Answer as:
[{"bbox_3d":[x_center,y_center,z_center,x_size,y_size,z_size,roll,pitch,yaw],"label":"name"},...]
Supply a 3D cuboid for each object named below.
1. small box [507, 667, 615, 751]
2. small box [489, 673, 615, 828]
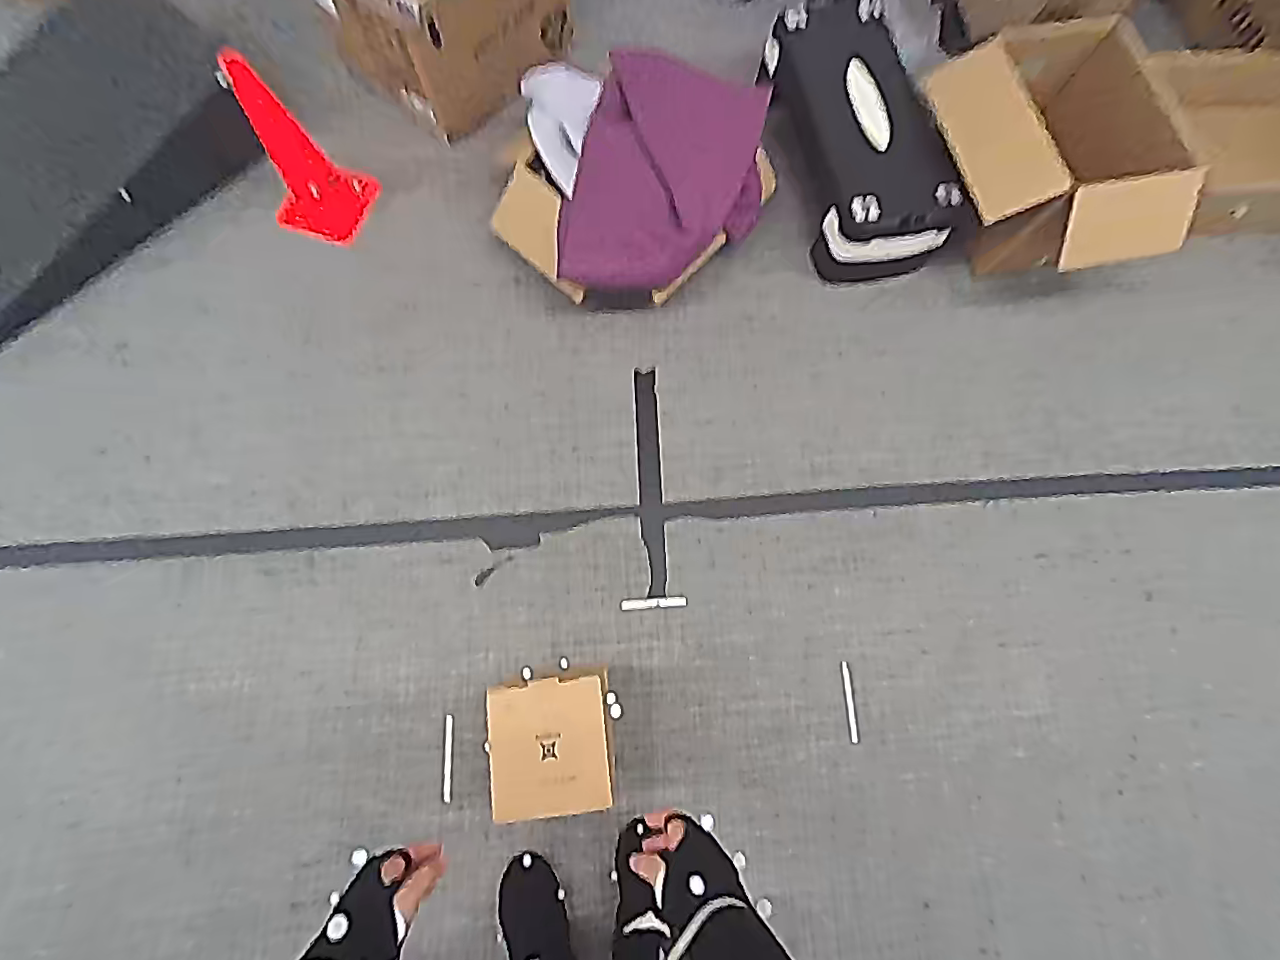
[{"bbox_3d":[-0.140,0.442,0.994,0.179,0.176,0.168,-5,75,-4],"label":"small box"},{"bbox_3d":[-0.129,0.402,0.837,0.168,0.176,0.179,-7,76,-3],"label":"small box"}]
